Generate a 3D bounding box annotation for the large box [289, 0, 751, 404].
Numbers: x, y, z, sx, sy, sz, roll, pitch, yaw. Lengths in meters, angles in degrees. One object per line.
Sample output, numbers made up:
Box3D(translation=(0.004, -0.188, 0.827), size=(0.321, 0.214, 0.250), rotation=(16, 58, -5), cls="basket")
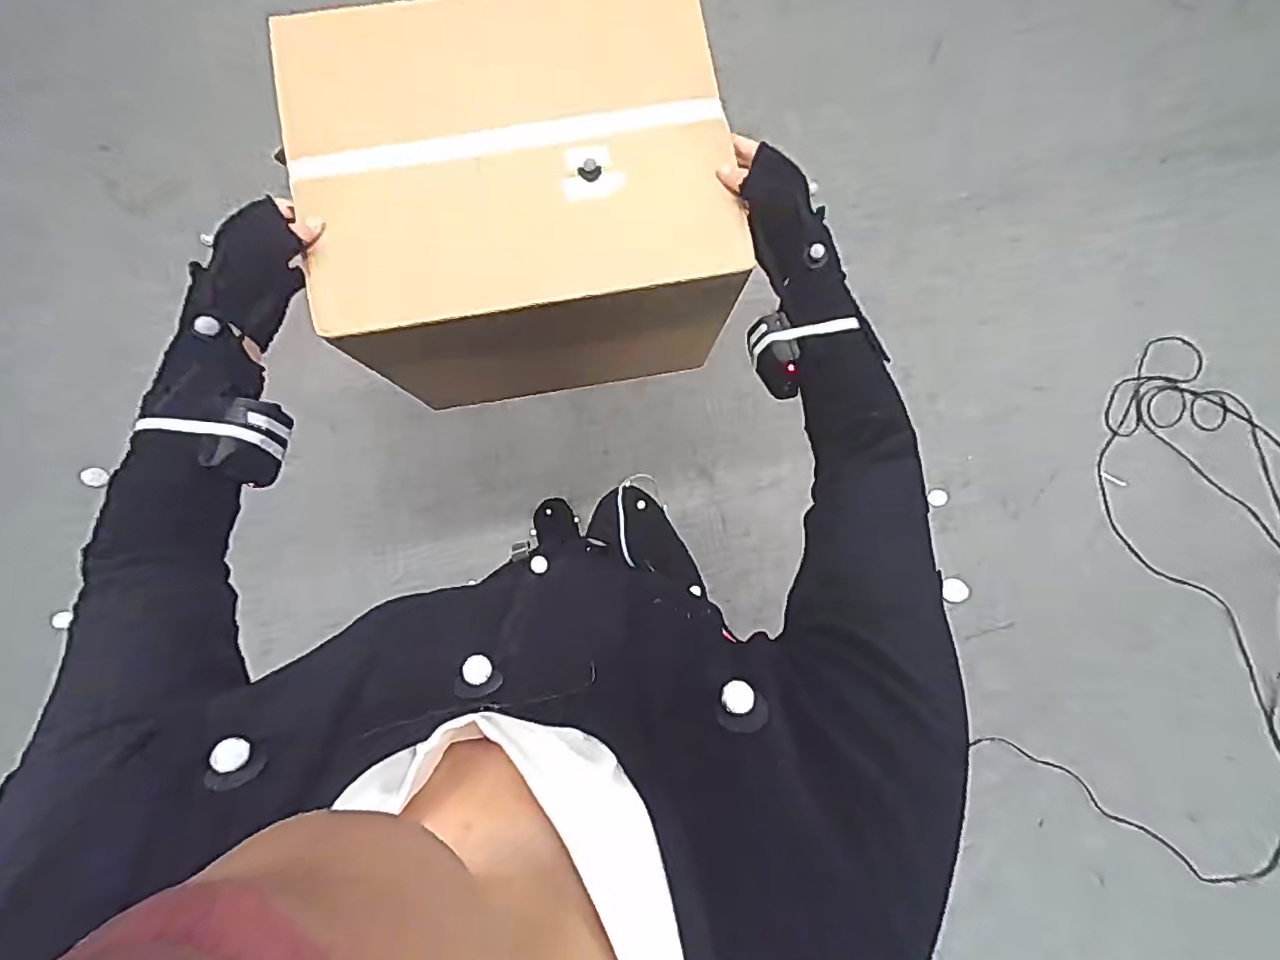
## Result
Box3D(translation=(-0.123, -0.306, 0.663), size=(0.408, 0.320, 0.320), rotation=(-10, 86, -4), cls="large box")
